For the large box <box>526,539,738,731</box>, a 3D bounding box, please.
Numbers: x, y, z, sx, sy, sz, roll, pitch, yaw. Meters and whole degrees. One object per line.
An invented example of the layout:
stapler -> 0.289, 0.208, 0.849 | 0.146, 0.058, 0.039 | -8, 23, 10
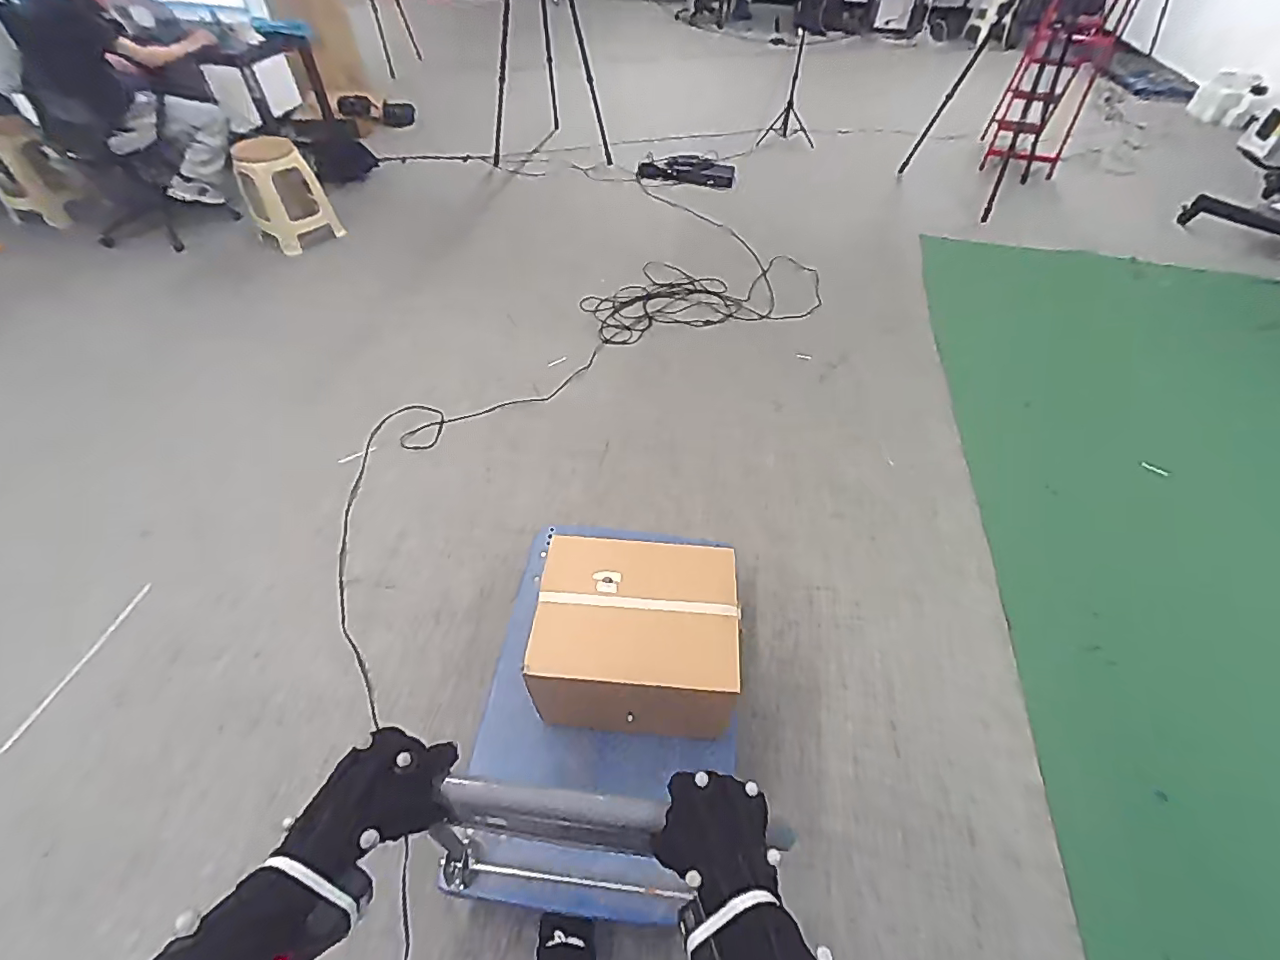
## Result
large box -> -0.003, 0.352, 1.213 | 0.408, 0.320, 0.320 | 3, 49, 4
